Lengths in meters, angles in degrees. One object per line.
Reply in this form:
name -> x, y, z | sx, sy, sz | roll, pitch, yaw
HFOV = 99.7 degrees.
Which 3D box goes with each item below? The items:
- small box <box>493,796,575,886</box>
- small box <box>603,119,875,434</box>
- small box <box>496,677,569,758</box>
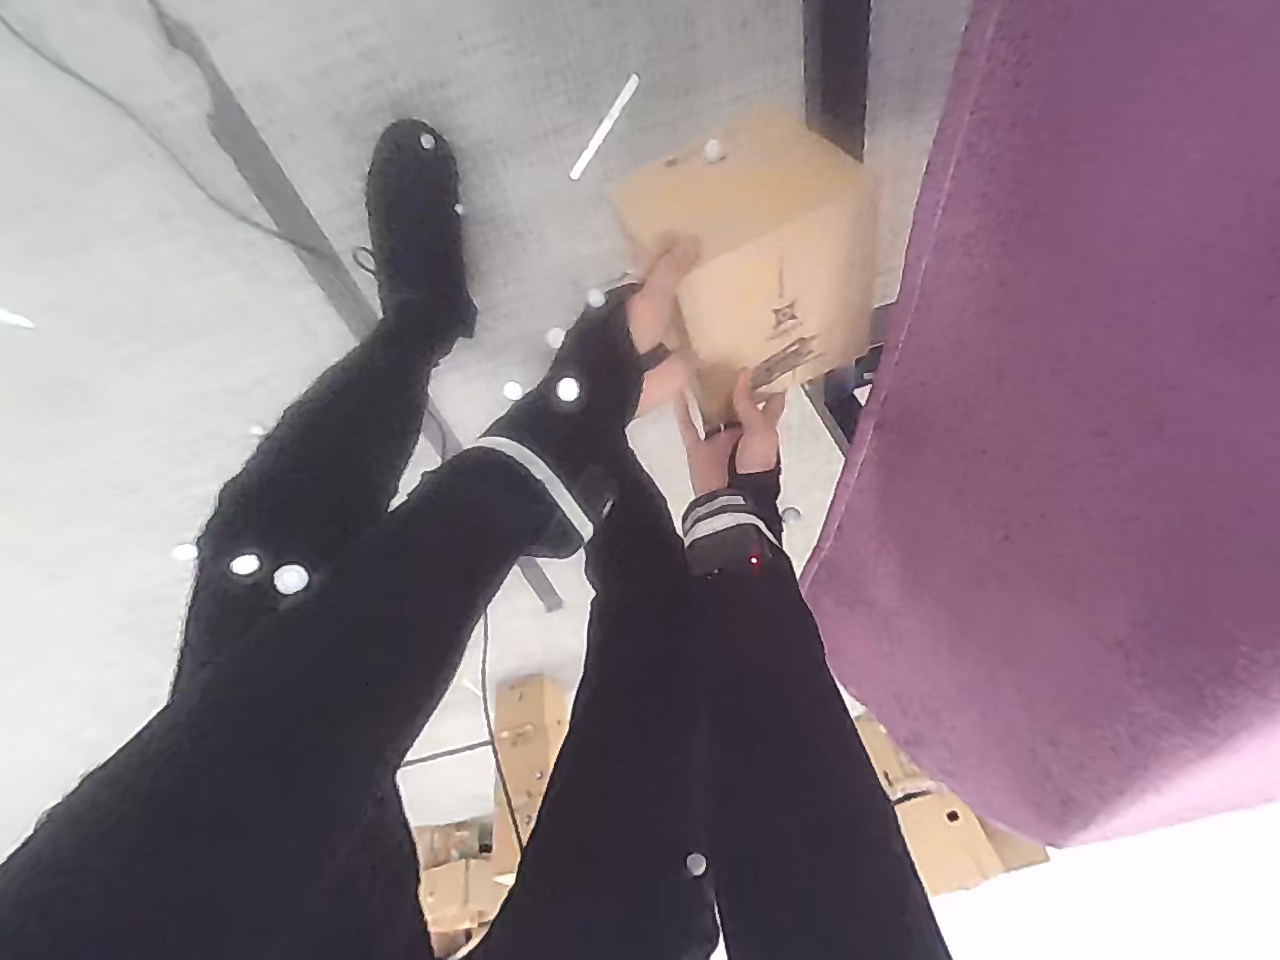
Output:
small box -> -0.278, 0.969, 1.453 | 0.168, 0.176, 0.179 | -15, 136, 5
small box -> 0.086, -0.181, 0.492 | 0.168, 0.176, 0.179 | -26, 143, 2
small box -> -0.329, 0.735, 1.677 | 0.168, 0.176, 0.179 | -18, 135, 7
